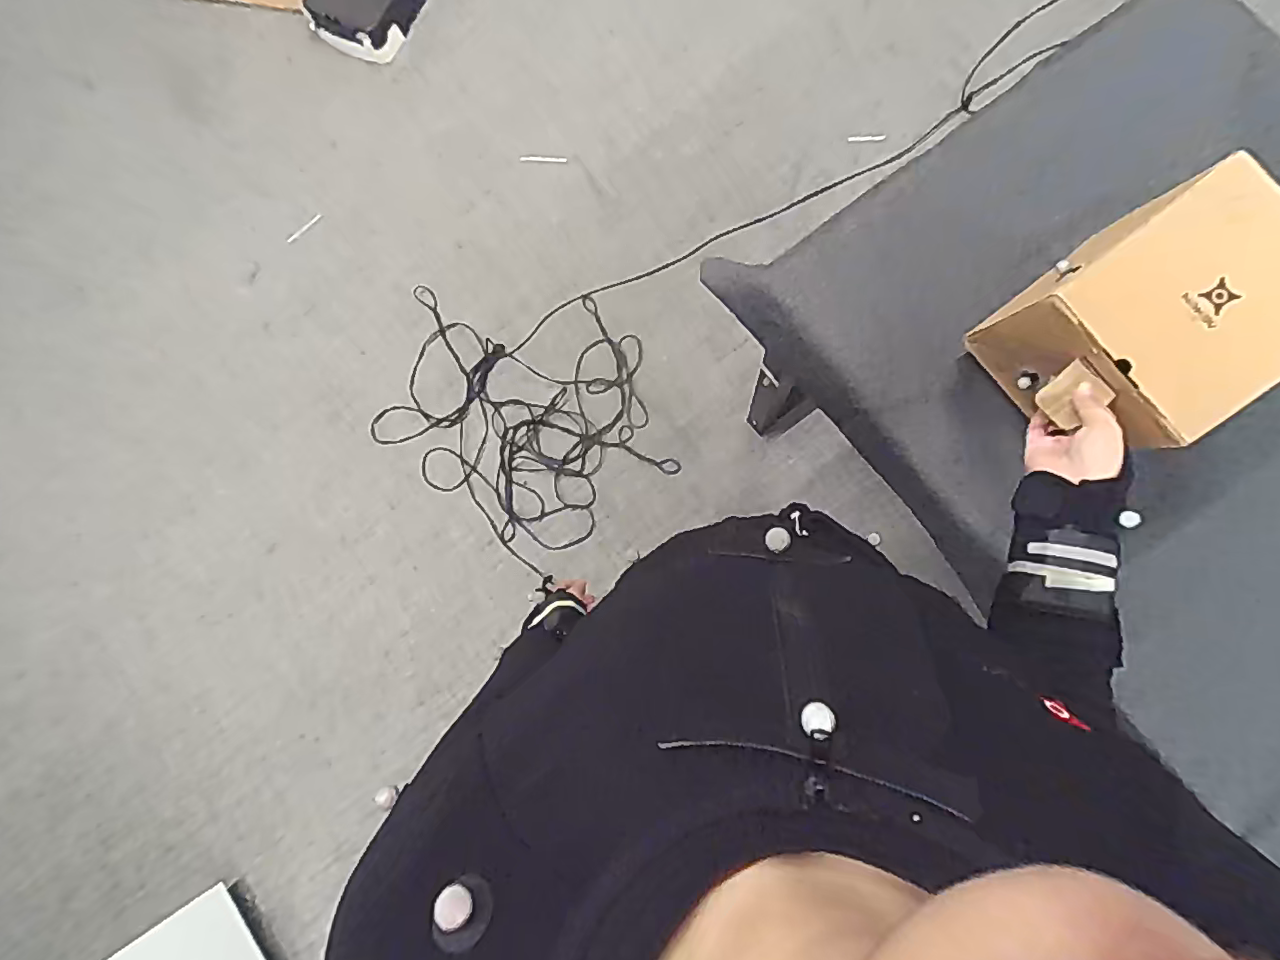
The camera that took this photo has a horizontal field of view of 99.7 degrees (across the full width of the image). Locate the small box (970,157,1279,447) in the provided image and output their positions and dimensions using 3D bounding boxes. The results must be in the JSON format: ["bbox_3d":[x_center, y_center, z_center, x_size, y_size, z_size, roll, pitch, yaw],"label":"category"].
[{"bbox_3d":[0.468,-0.146,0.514,0.179,0.176,0.168,-38,87,6],"label":"small box"}]
